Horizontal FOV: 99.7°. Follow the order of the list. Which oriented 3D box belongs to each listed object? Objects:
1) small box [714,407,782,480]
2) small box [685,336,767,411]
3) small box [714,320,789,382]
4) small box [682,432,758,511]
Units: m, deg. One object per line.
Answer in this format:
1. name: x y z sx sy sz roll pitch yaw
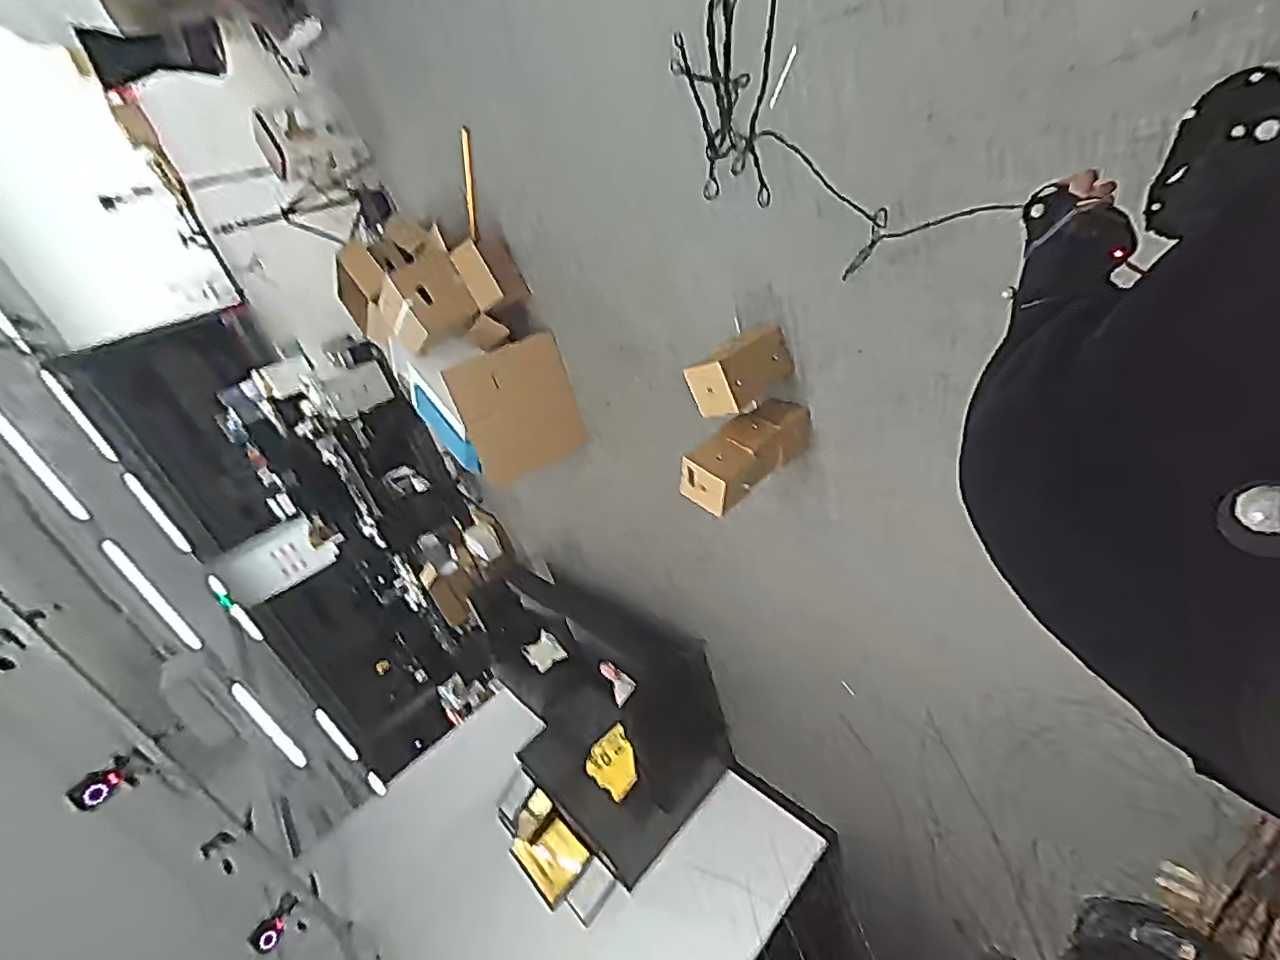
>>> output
1. small box: 0.372 -0.121 1.868 0.168 0.176 0.179 31 142 35
2. small box: 0.286 -0.344 1.760 0.168 0.176 0.179 0 120 54
3. small box: 0.389 -0.434 1.848 0.179 0.176 0.168 7 126 52
4. small box: 0.262 -0.037 1.780 0.179 0.176 0.168 34 143 31
